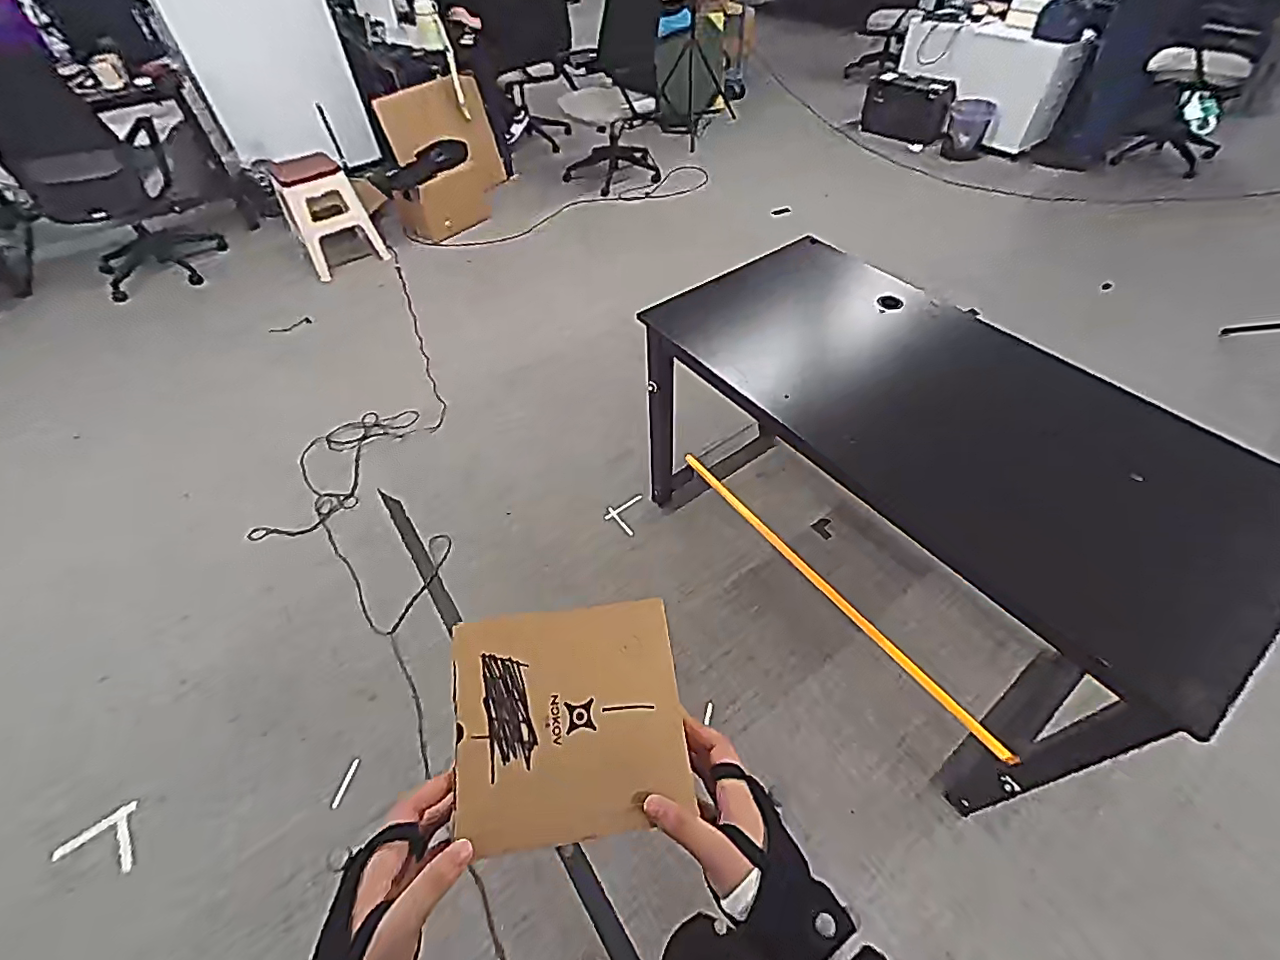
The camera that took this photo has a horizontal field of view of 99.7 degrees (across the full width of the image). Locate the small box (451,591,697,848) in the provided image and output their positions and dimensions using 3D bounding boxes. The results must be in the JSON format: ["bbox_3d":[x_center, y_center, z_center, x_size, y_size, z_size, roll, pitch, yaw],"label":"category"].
[{"bbox_3d":[-0.058,0.209,0.484,0.179,0.176,0.168,-5,64,-7],"label":"small box"}]
